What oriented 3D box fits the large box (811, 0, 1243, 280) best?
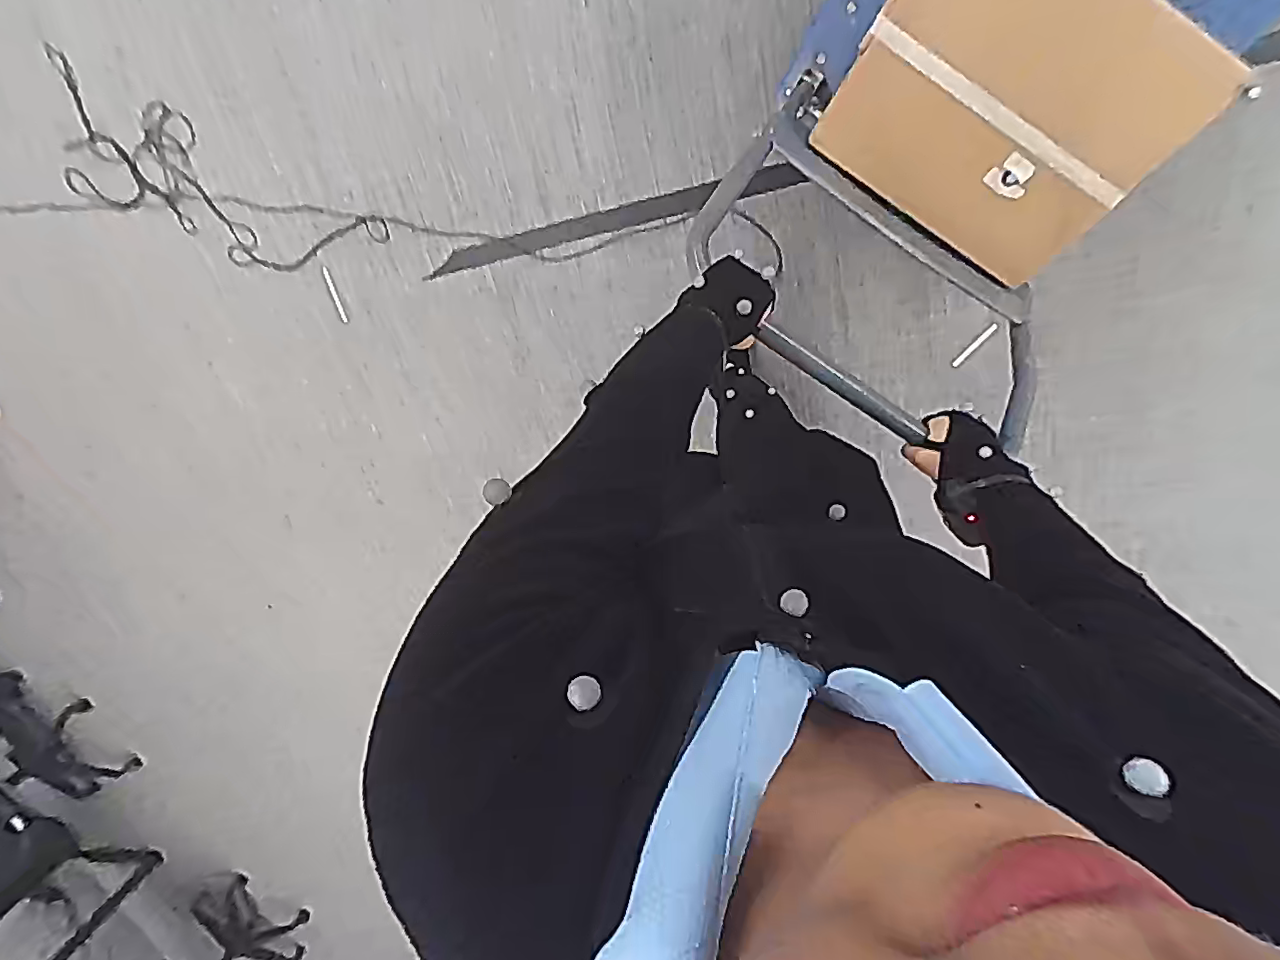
[{"bbox_3d":[0.537,-0.598,0.834,0.408,0.320,0.320,32,139,-5],"label":"large box"}]
